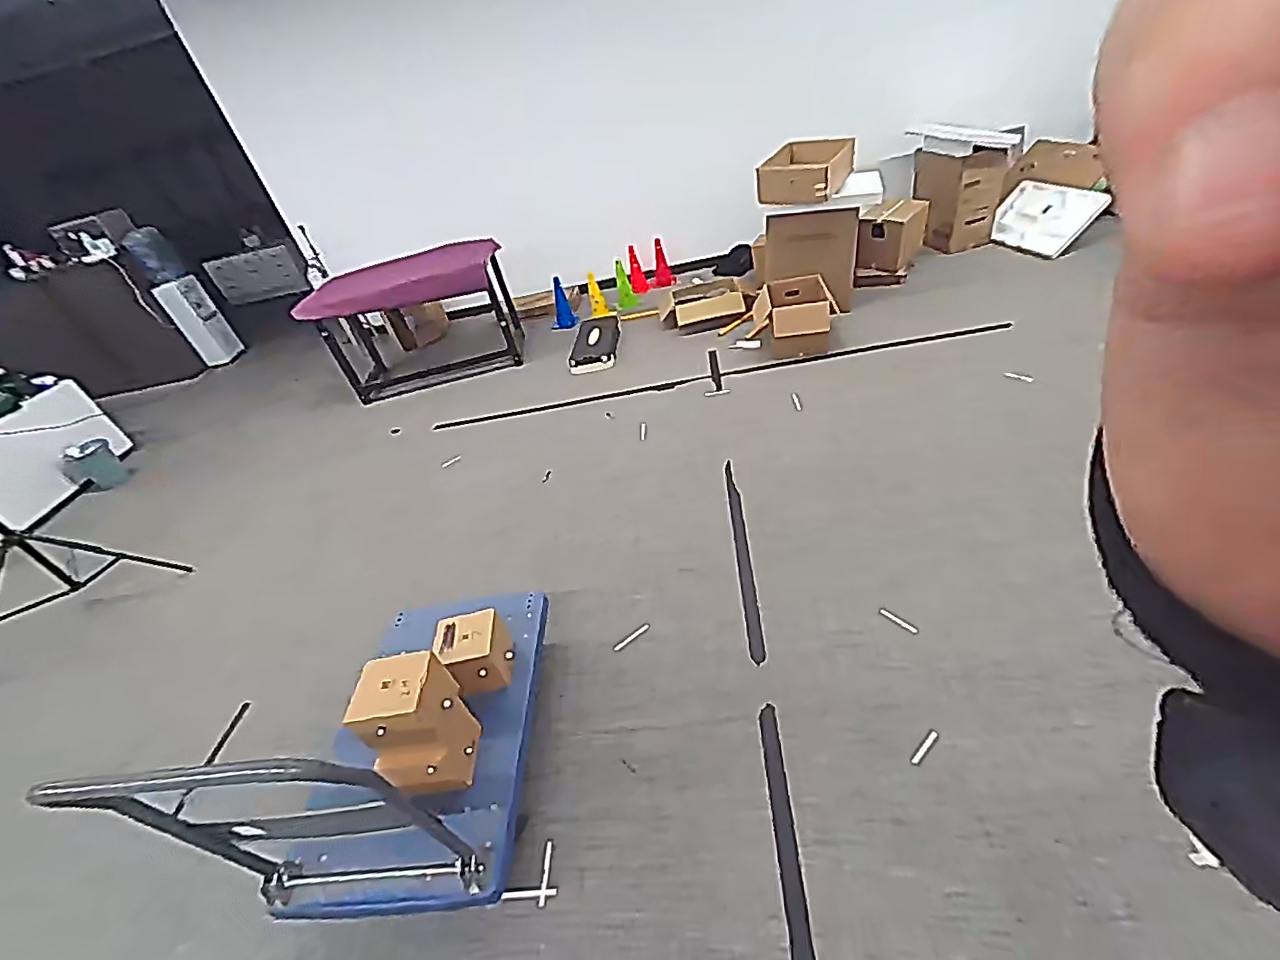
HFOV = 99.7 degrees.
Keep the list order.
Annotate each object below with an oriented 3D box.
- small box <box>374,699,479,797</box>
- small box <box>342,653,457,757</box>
[{"bbox_3d":[-0.543,0.695,1.399,0.179,0.176,0.168,-11,37,4],"label":"small box"},{"bbox_3d":[-0.577,0.552,1.321,0.179,0.176,0.168,-11,37,4],"label":"small box"}]
